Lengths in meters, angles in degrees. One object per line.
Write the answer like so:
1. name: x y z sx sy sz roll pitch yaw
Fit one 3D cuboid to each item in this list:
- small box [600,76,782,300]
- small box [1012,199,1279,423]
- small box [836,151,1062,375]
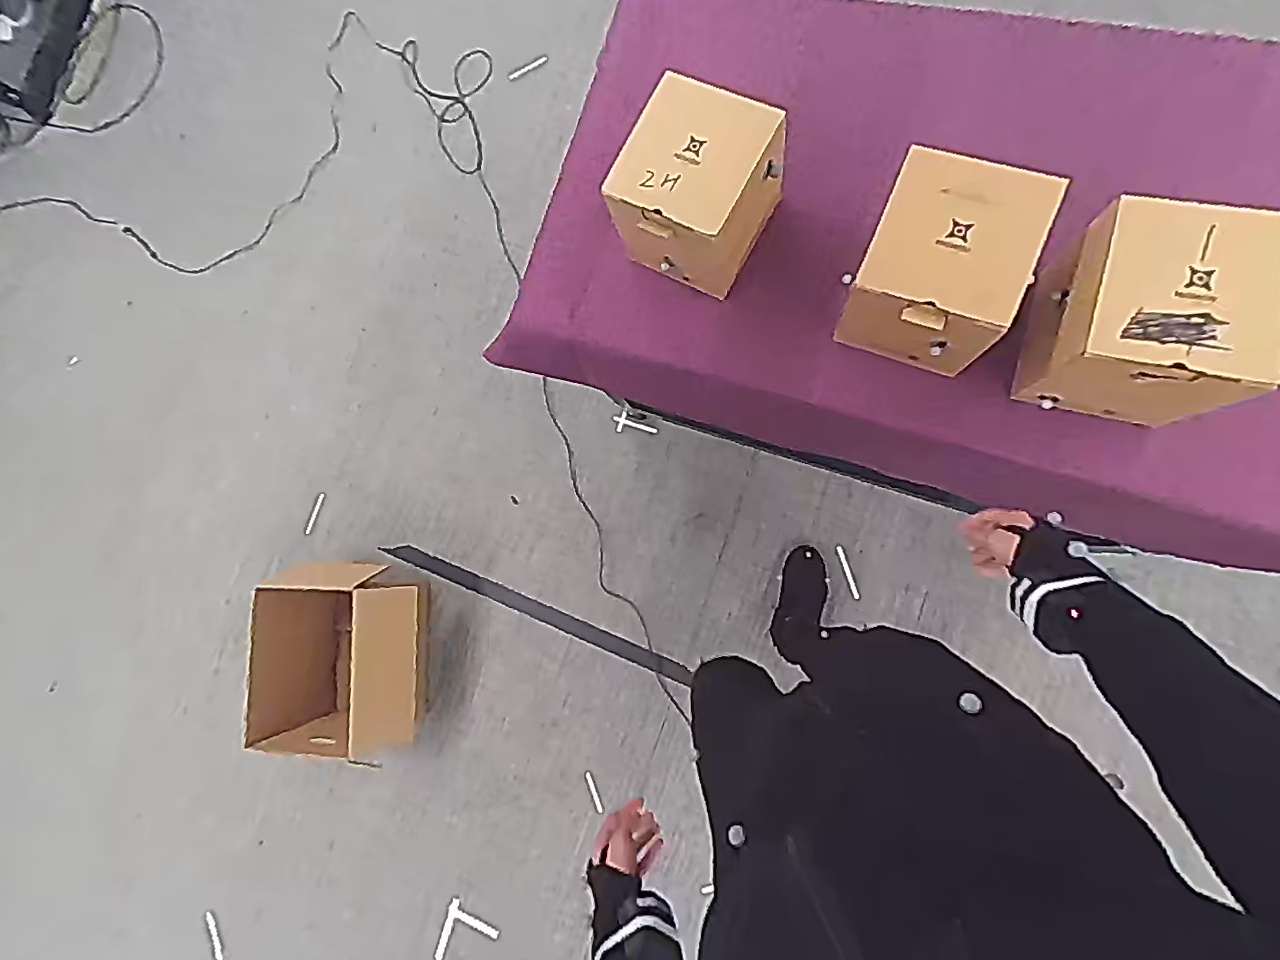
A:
1. small box: 0.073 -0.381 0.731 0.168 0.176 0.179 29 90 14
2. small box: 0.555 -0.176 0.607 0.168 0.176 0.179 15 85 13
3. small box: 0.353 -0.250 0.660 0.168 0.176 0.179 23 88 13
